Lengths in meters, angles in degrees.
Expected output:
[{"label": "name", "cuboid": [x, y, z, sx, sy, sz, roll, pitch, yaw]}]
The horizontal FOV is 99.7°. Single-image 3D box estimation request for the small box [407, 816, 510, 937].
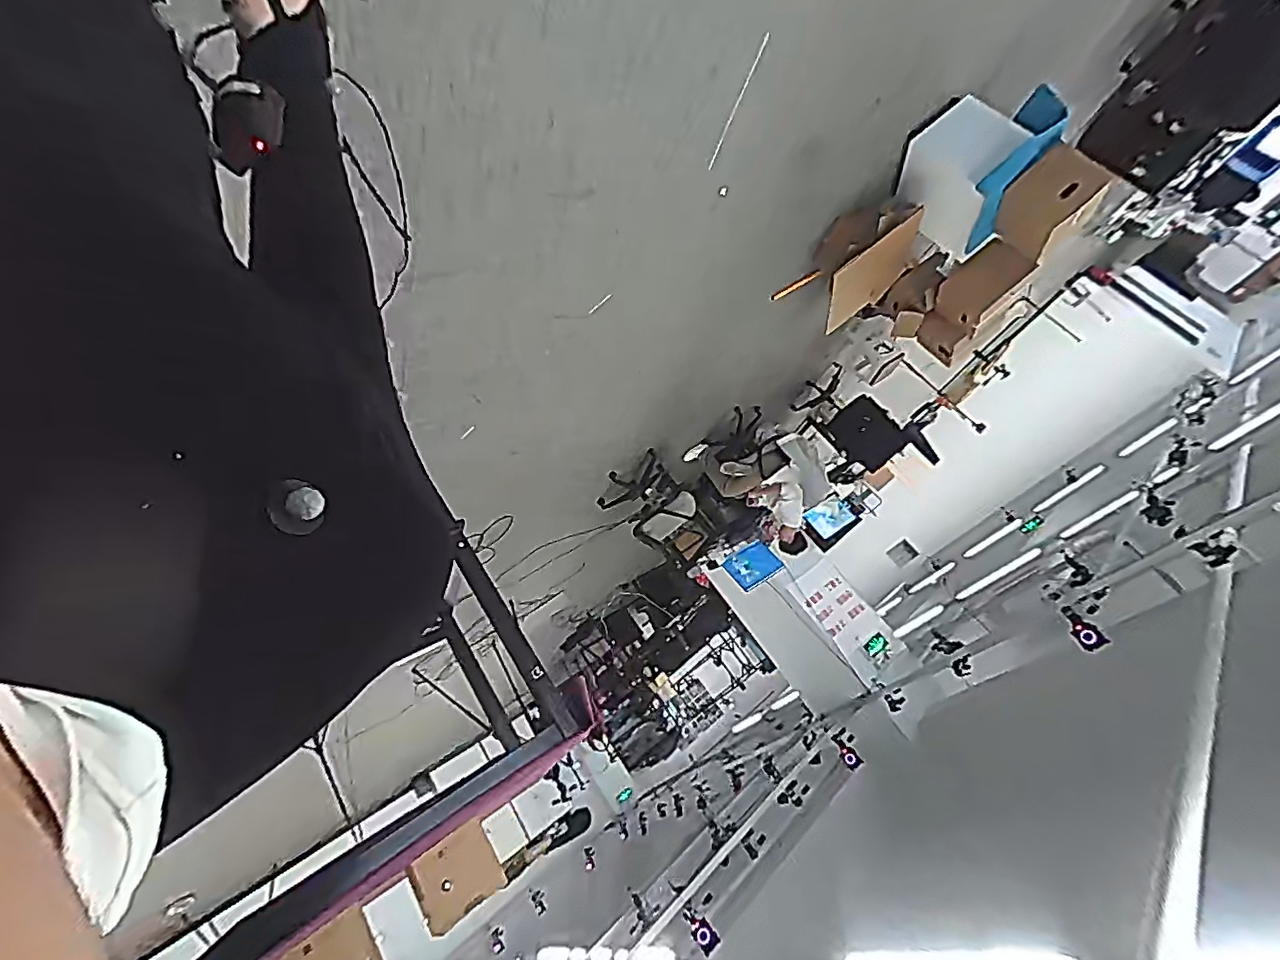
[{"label": "small box", "cuboid": [-0.441, 0.946, 1.297, 0.168, 0.176, 0.179, -20, 155, -40]}]
